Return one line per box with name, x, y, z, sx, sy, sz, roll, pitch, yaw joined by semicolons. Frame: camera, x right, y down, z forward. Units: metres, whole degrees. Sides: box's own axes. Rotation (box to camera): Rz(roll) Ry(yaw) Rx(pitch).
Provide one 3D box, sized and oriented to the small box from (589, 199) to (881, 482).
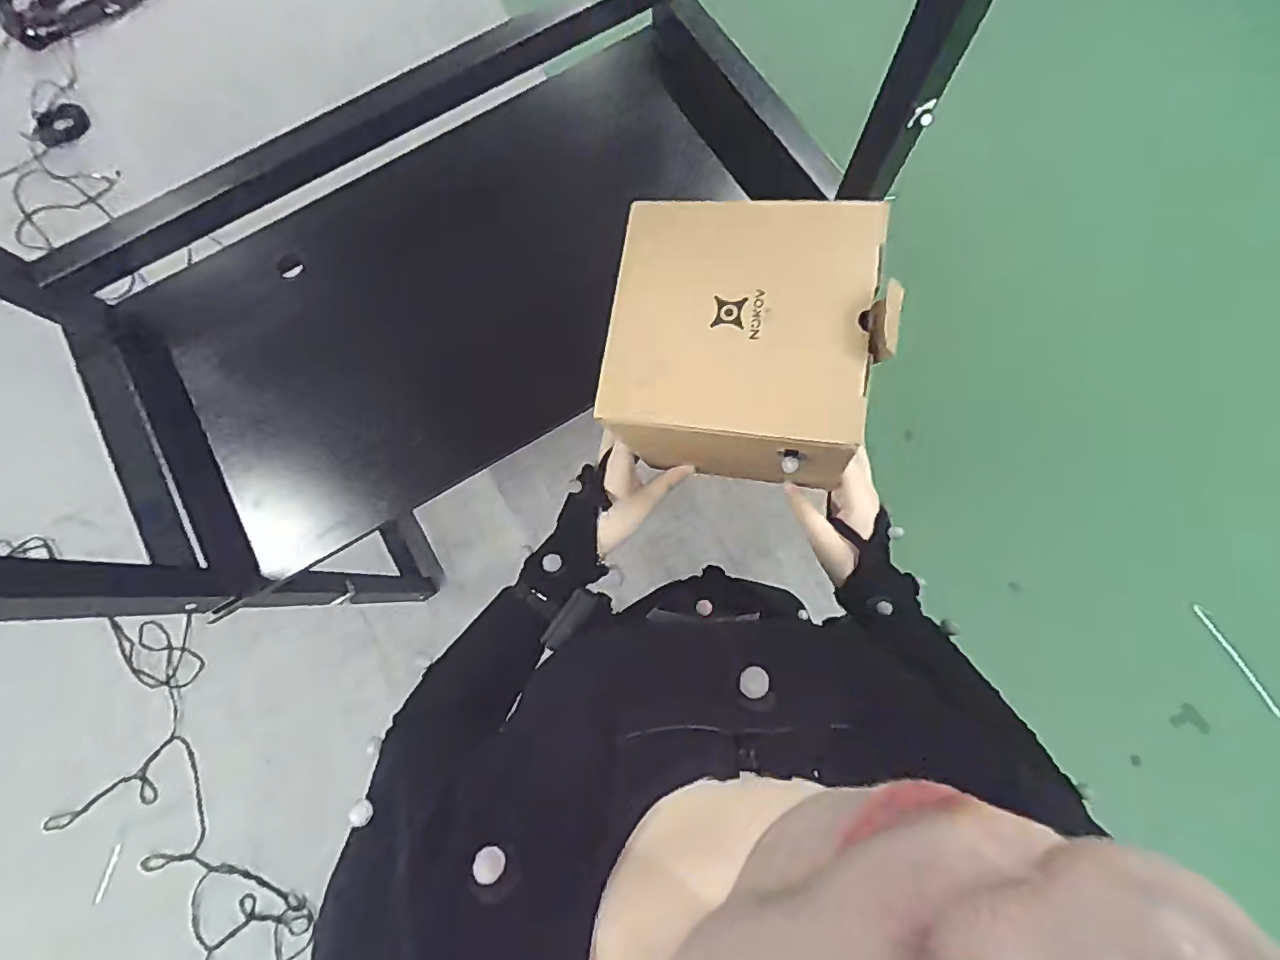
small box;0.079;-0.098;0.438;0.179;0.176;0.168;8;82;14
